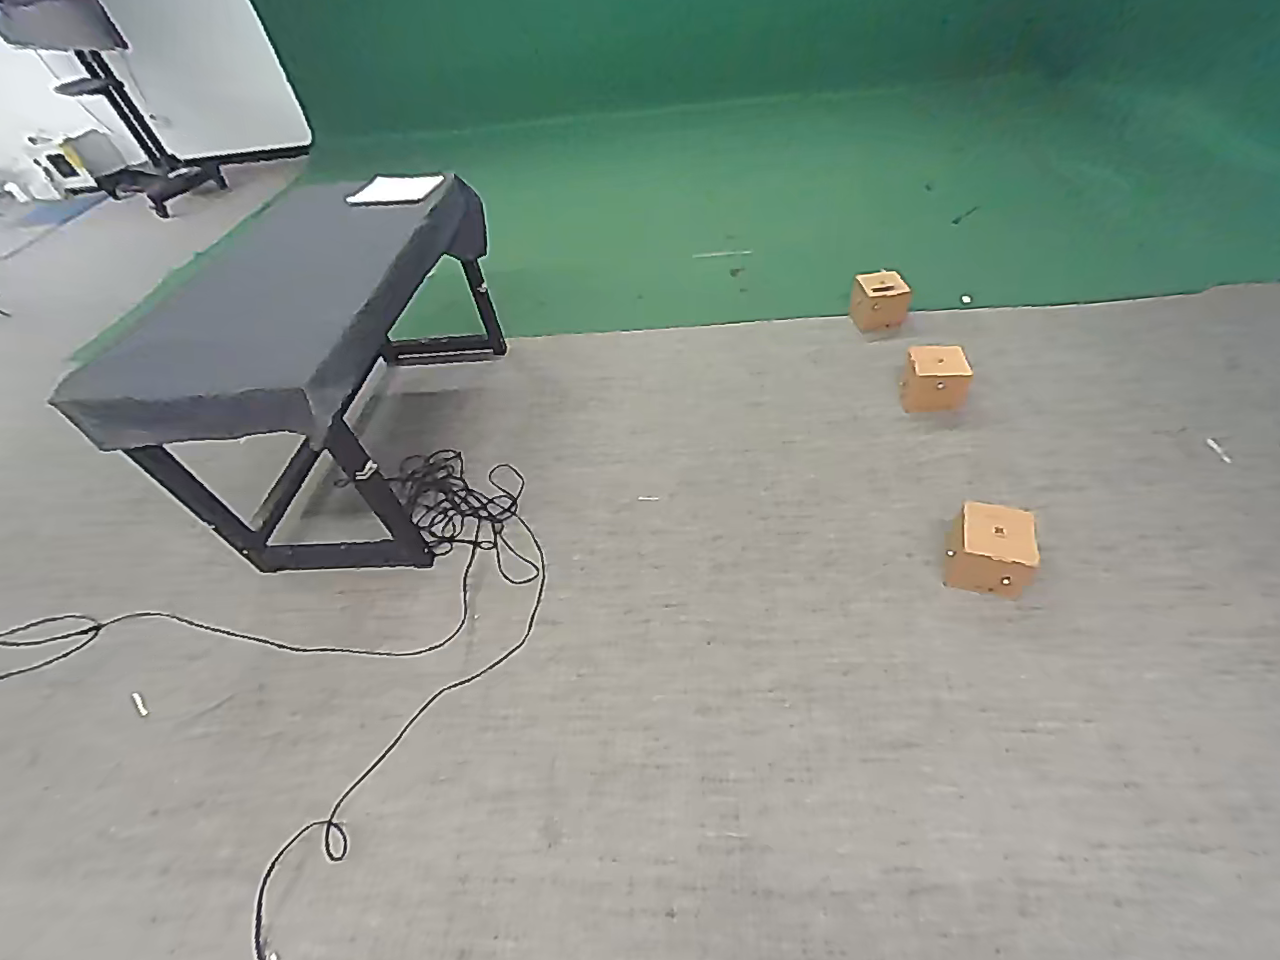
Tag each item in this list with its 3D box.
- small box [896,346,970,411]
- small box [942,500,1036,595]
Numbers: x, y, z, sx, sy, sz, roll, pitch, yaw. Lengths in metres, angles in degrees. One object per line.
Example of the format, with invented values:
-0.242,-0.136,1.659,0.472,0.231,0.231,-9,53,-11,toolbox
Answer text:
1.031,-0.356,1.916,0.179,0.176,0.168,0,48,10,small box
0.927,0.183,1.450,0.168,0.176,0.179,11,50,16,small box
